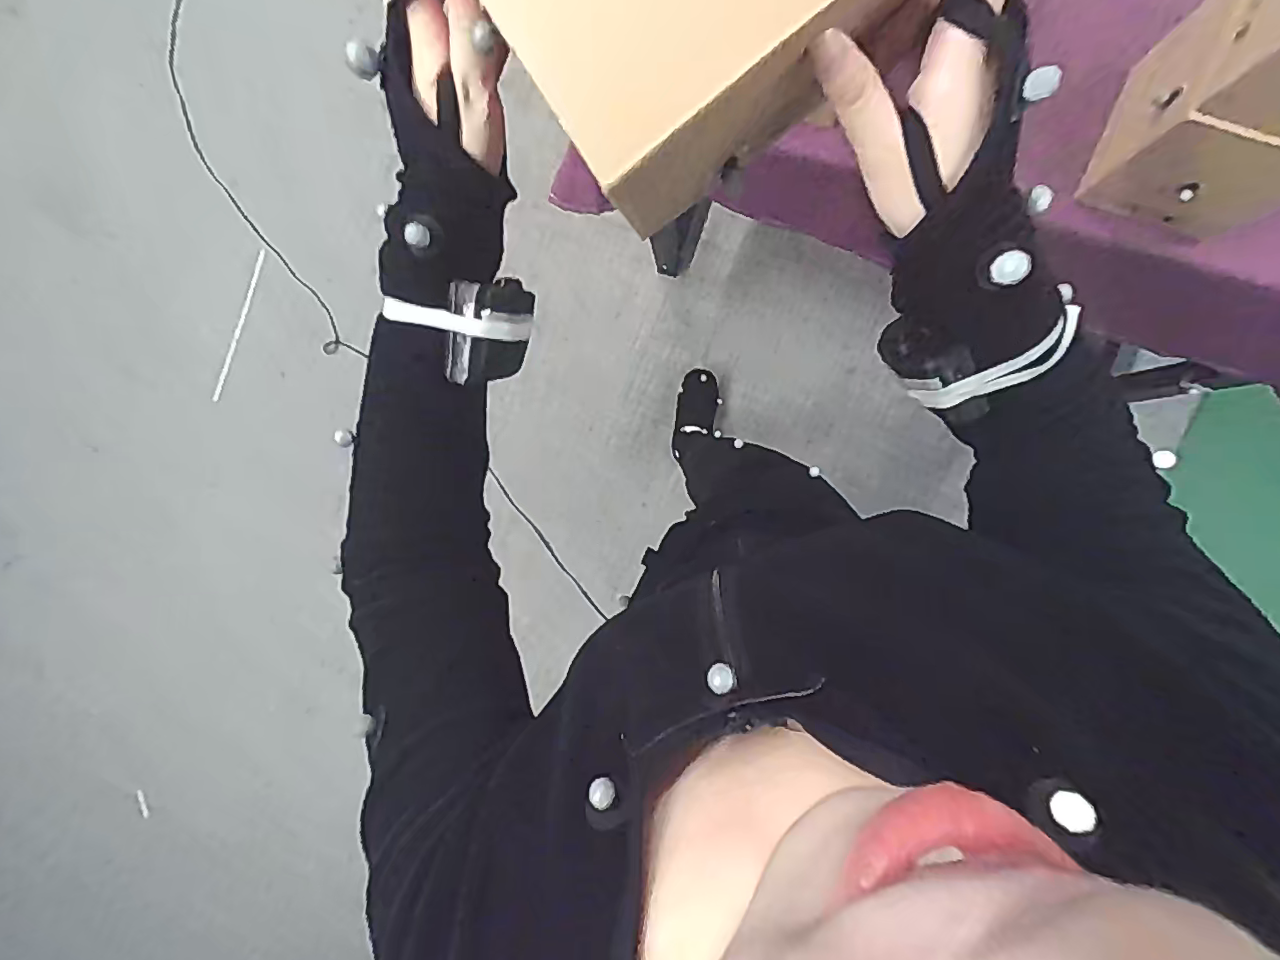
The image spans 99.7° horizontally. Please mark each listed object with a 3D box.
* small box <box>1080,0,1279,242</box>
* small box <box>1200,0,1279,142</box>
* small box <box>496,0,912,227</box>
[{"bbox_3d":[0.650,-0.399,0.604,0.168,0.176,0.179,23,94,5],"label":"small box"},{"bbox_3d":[0.640,-0.395,0.439,0.179,0.176,0.168,23,94,5],"label":"small box"},{"bbox_3d":[0.015,-0.254,0.258,0.168,0.176,0.179,-31,101,14],"label":"small box"}]
